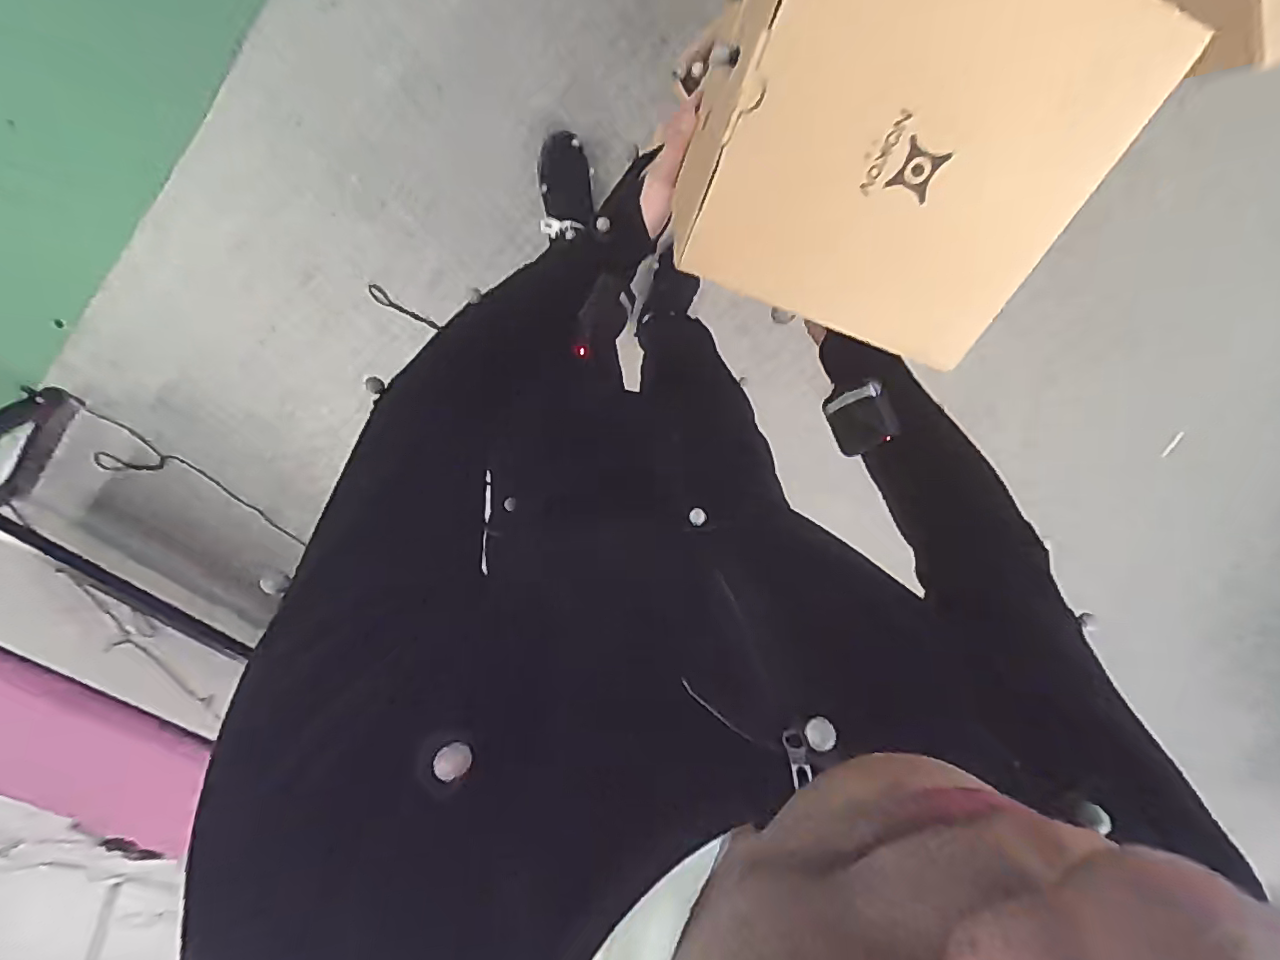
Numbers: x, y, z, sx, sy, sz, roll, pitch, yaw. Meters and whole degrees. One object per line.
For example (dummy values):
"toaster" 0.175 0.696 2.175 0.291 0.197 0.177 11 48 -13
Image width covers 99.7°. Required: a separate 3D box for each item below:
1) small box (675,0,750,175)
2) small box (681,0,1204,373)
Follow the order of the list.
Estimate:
"small box" 0.148 -0.393 0.578 0.179 0.176 0.168 18 125 -10
"small box" 0.133 -0.194 0.320 0.179 0.176 0.168 17 126 -9
